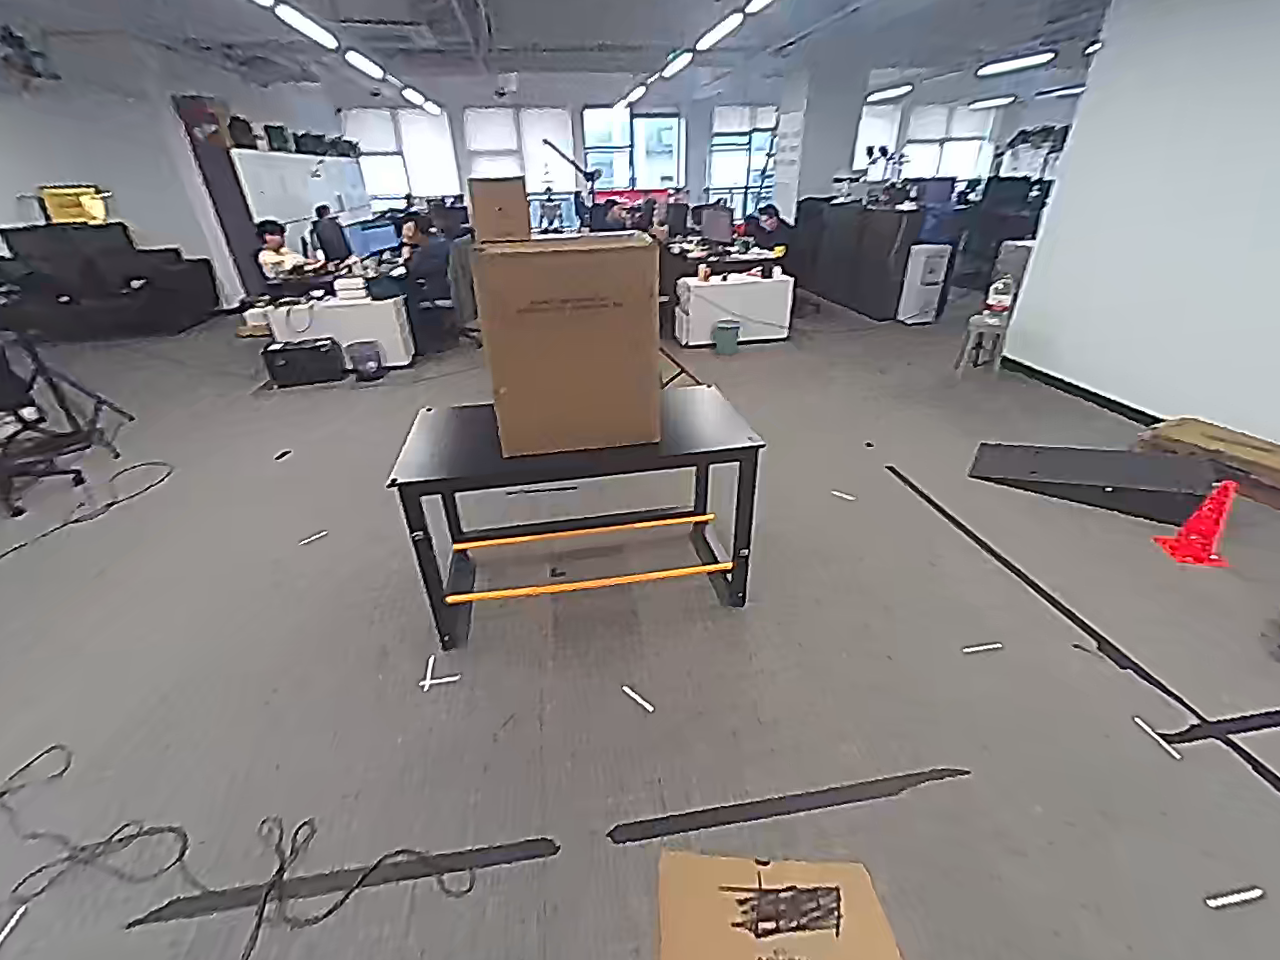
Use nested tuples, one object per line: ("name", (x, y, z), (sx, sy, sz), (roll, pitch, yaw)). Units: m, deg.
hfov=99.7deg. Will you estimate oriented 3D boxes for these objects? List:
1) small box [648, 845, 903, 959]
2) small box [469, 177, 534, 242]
("small box", (0.088, 0.395, 0.366), (0.168, 0.176, 0.179), (3, 14, -1))
("small box", (-0.416, -0.815, 1.633), (0.168, 0.176, 0.179), (-7, 29, -11))
